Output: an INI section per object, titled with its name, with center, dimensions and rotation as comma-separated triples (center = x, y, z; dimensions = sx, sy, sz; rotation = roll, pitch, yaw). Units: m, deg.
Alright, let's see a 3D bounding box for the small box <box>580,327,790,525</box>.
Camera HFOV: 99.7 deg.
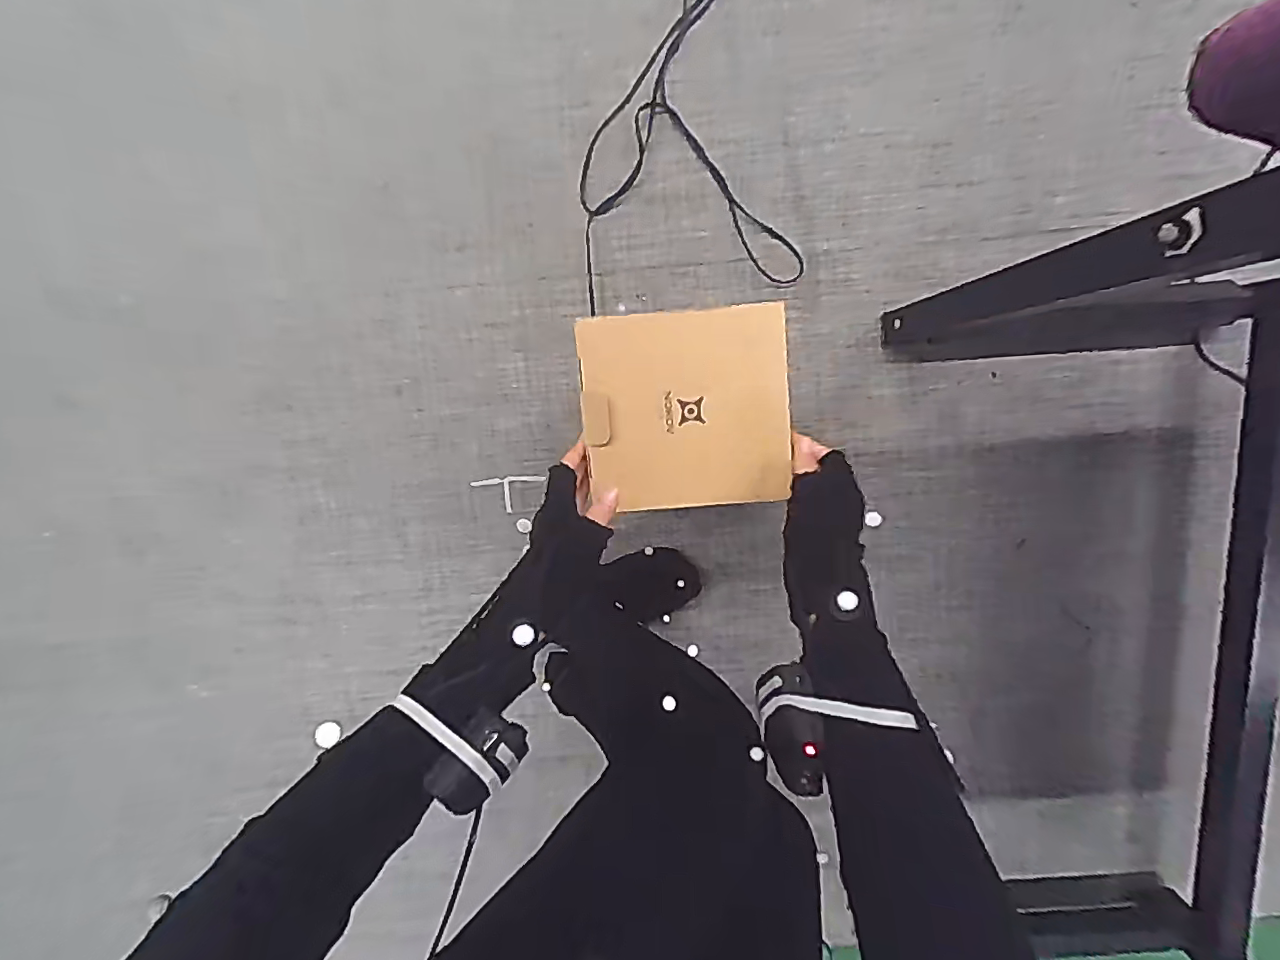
[small box]
center = 0.042, -0.057, 0.541
dimensions = 0.179, 0.176, 0.168
rotation = -3, 98, 3
